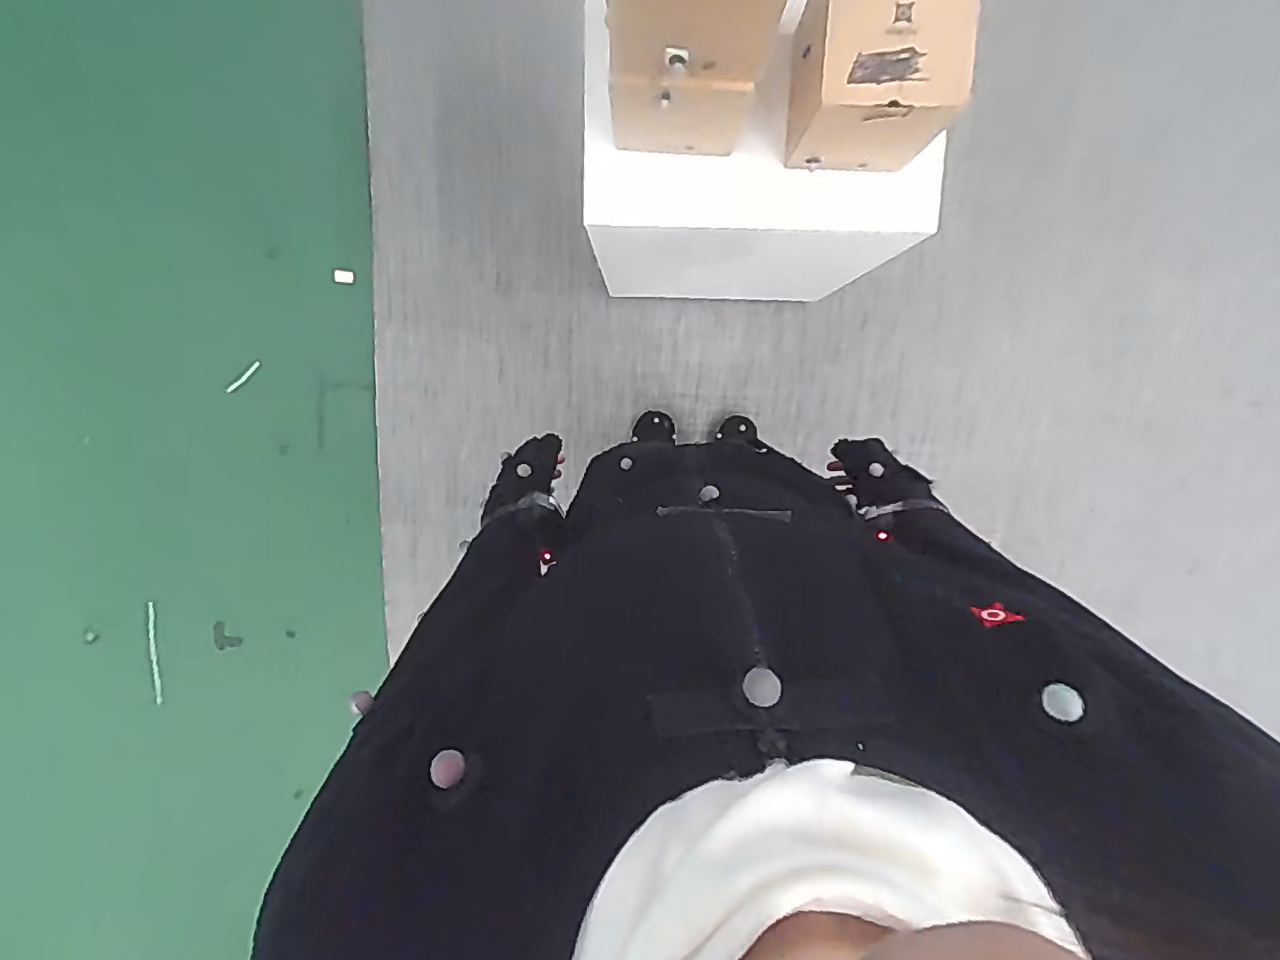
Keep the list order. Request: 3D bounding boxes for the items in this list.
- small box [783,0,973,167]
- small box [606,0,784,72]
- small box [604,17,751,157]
[{"bbox_3d":[0.281,-0.515,0.672,0.168,0.176,0.179,3,97,1],"label":"small box"},{"bbox_3d":[0.052,-0.521,0.495,0.168,0.176,0.179,2,100,1],"label":"small box"},{"bbox_3d":[0.048,-0.538,0.672,0.168,0.176,0.179,4,97,1],"label":"small box"}]
